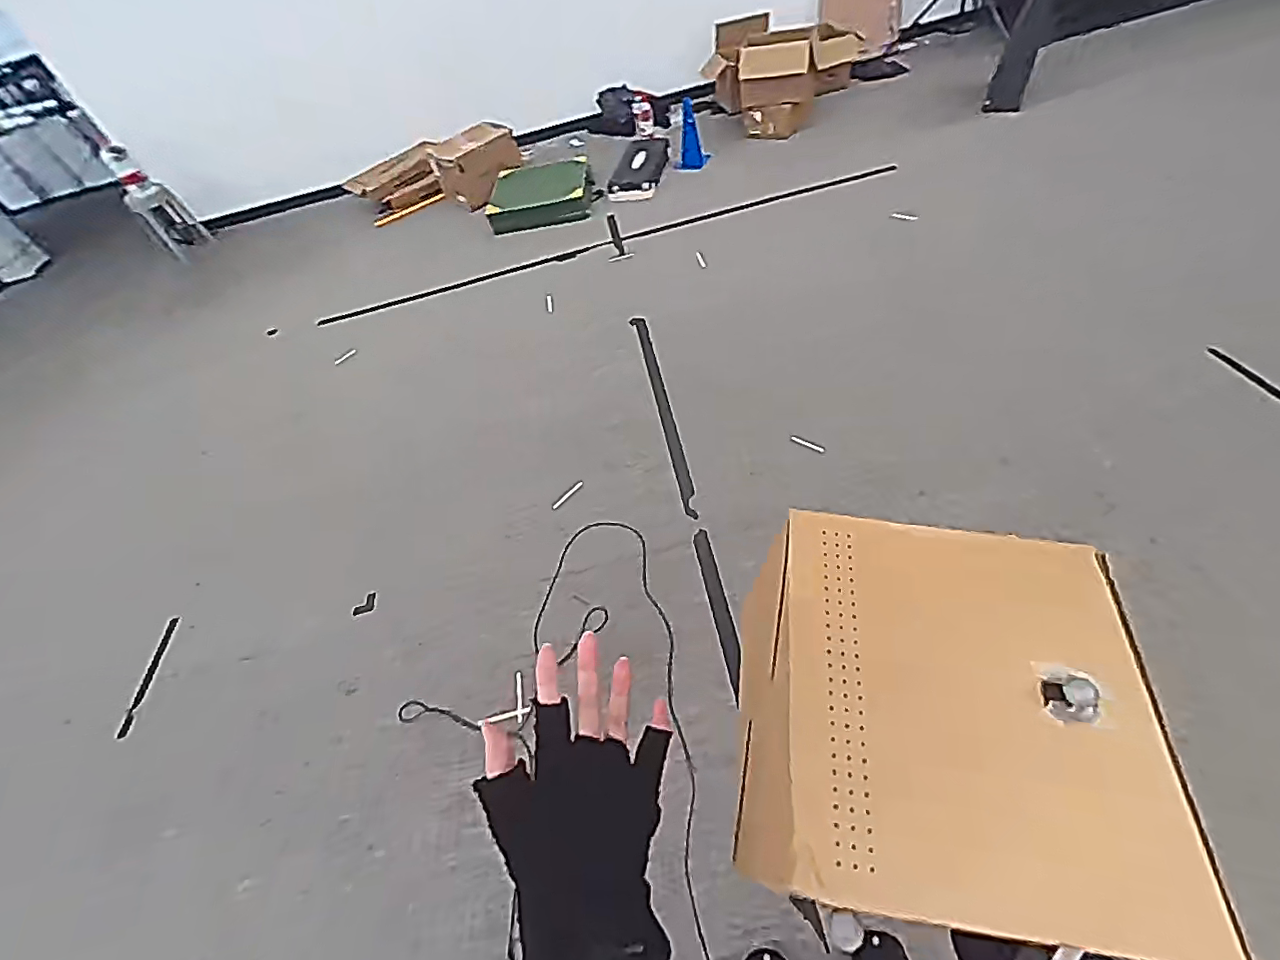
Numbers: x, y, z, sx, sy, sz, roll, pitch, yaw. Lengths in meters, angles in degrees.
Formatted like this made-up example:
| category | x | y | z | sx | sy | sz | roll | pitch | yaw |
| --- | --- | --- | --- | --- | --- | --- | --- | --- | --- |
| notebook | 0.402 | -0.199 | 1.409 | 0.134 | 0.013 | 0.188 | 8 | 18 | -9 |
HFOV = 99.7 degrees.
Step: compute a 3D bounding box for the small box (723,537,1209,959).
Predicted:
| category | x | y | z | sx | sy | sz | roll | pitch | yaw |
| --- | --- | --- | --- | --- | --- | --- | --- | --- | --- |
| small box | 0.146 | 0.149 | 0.323 | 0.176 | 0.168 | 0.179 | 6 | 56 | 5 |
